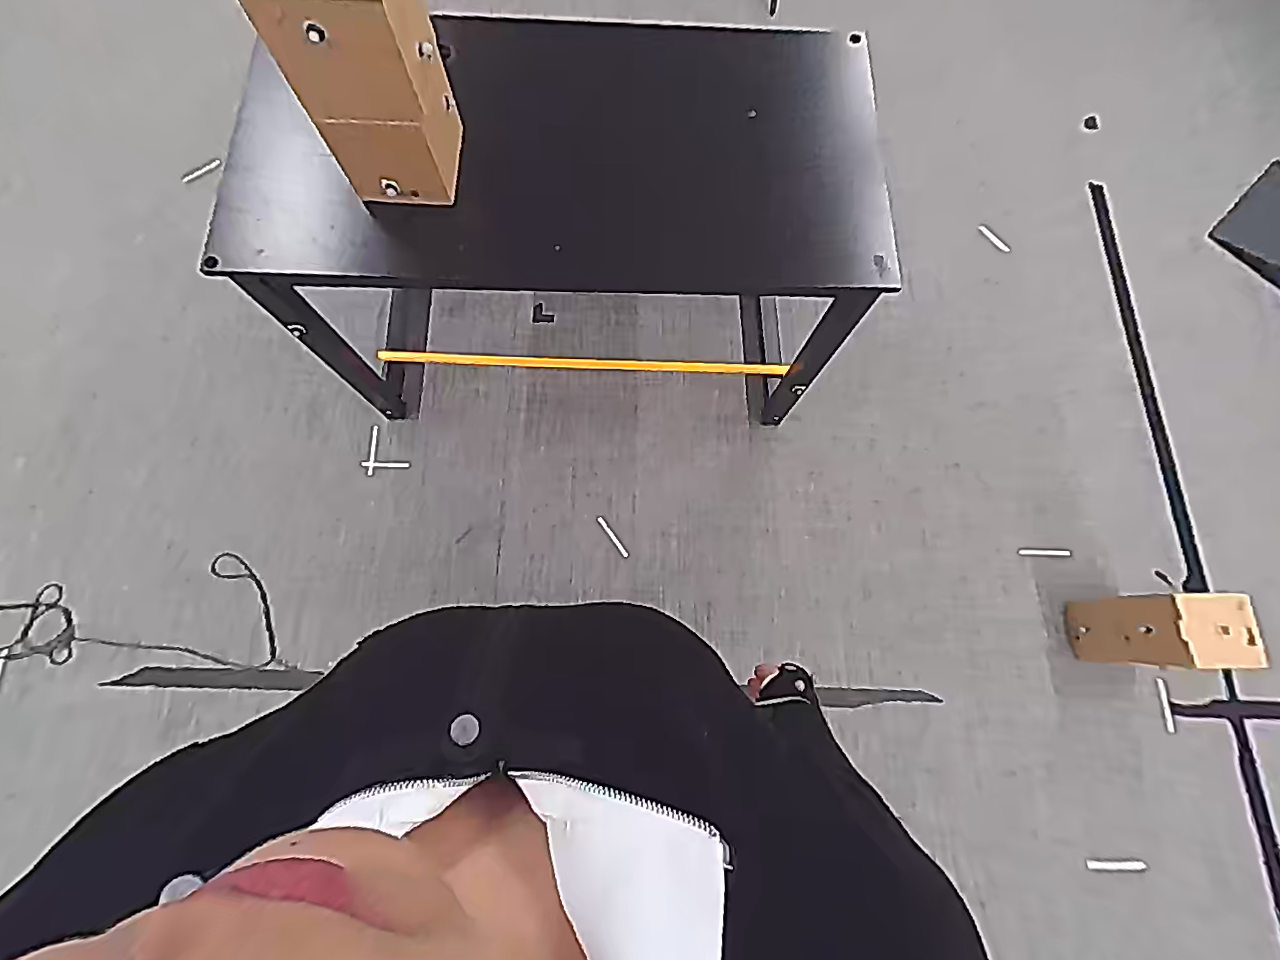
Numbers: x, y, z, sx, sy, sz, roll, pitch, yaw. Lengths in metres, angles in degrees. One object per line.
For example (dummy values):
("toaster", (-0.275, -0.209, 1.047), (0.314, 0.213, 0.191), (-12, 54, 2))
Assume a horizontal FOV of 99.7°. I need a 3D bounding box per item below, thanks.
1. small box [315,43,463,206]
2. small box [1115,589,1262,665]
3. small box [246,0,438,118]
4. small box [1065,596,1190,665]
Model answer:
("small box", (-0.407, -0.597, 0.908), (0.168, 0.176, 0.179), (1, 76, -1))
("small box", (1.300, 0.354, 1.302), (0.179, 0.176, 0.168), (0, 75, -1))
("small box", (-0.401, -0.639, 0.748), (0.179, 0.176, 0.168), (0, 75, -2))
("small box", (1.306, 0.403, 1.459), (0.179, 0.176, 0.168), (2, 75, -1))
